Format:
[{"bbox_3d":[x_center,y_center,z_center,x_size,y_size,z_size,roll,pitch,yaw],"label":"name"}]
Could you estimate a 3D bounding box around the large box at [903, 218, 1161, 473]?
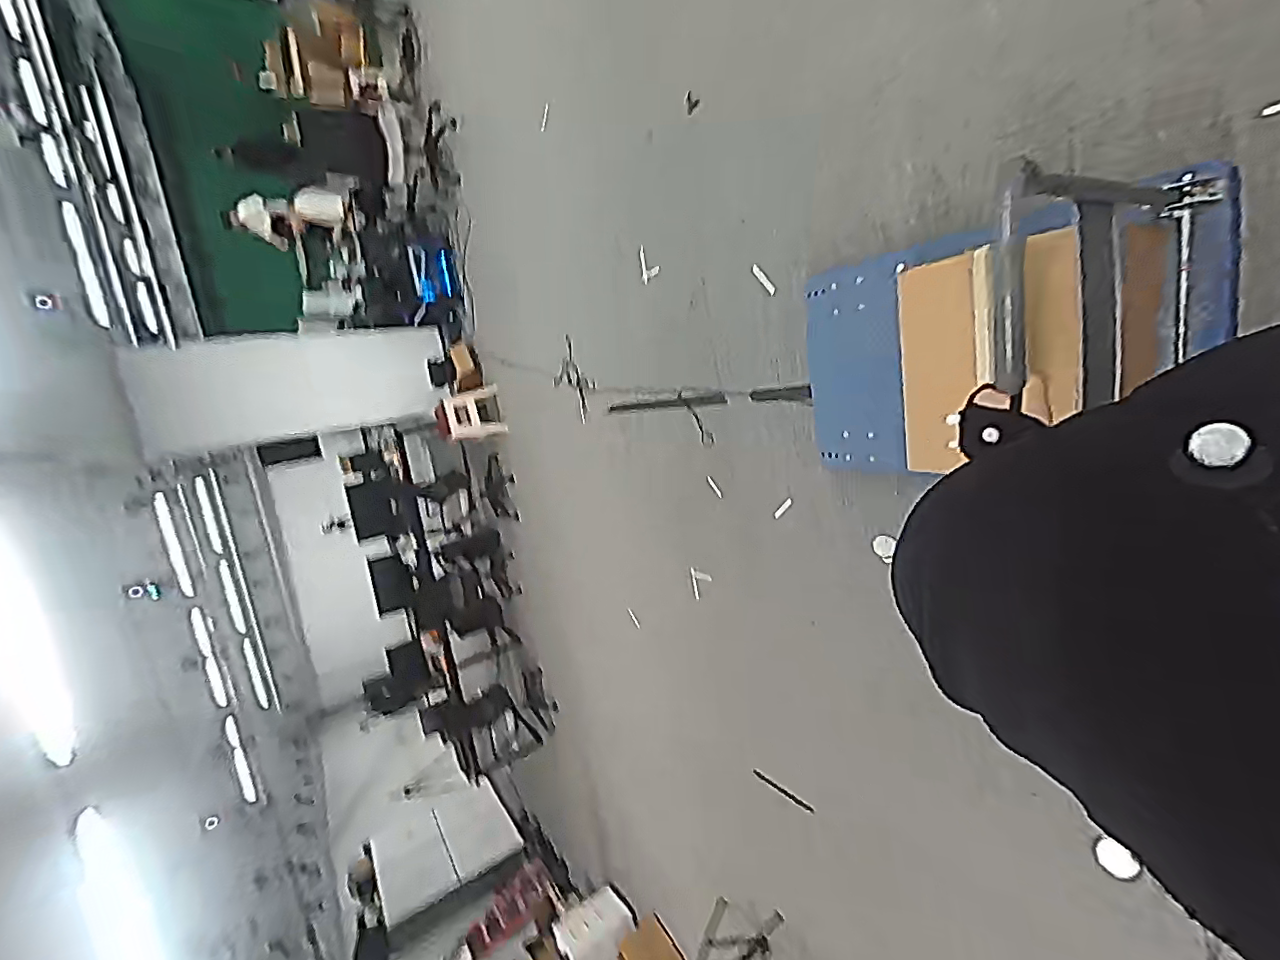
[{"bbox_3d":[0.750,-0.243,1.044,0.320,0.320,0.408,8,109,56],"label":"large box"}]
